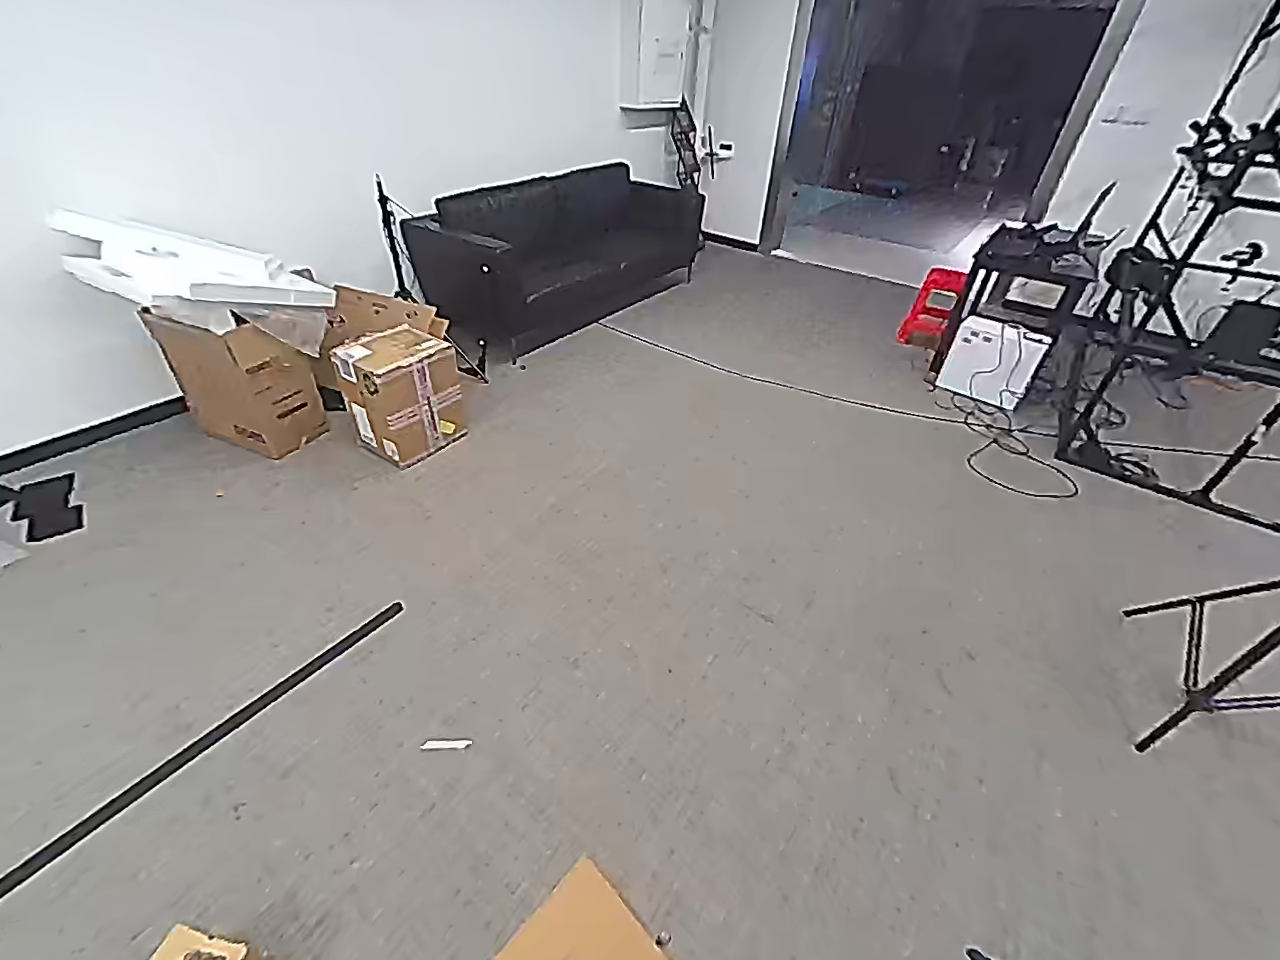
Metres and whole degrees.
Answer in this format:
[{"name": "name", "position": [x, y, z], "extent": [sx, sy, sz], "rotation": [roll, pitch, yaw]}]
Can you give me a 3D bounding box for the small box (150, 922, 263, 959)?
[{"name": "small box", "position": [-0.849, 0.993, 1.027], "extent": [0.168, 0.176, 0.179], "rotation": [10, 39, 9]}]
